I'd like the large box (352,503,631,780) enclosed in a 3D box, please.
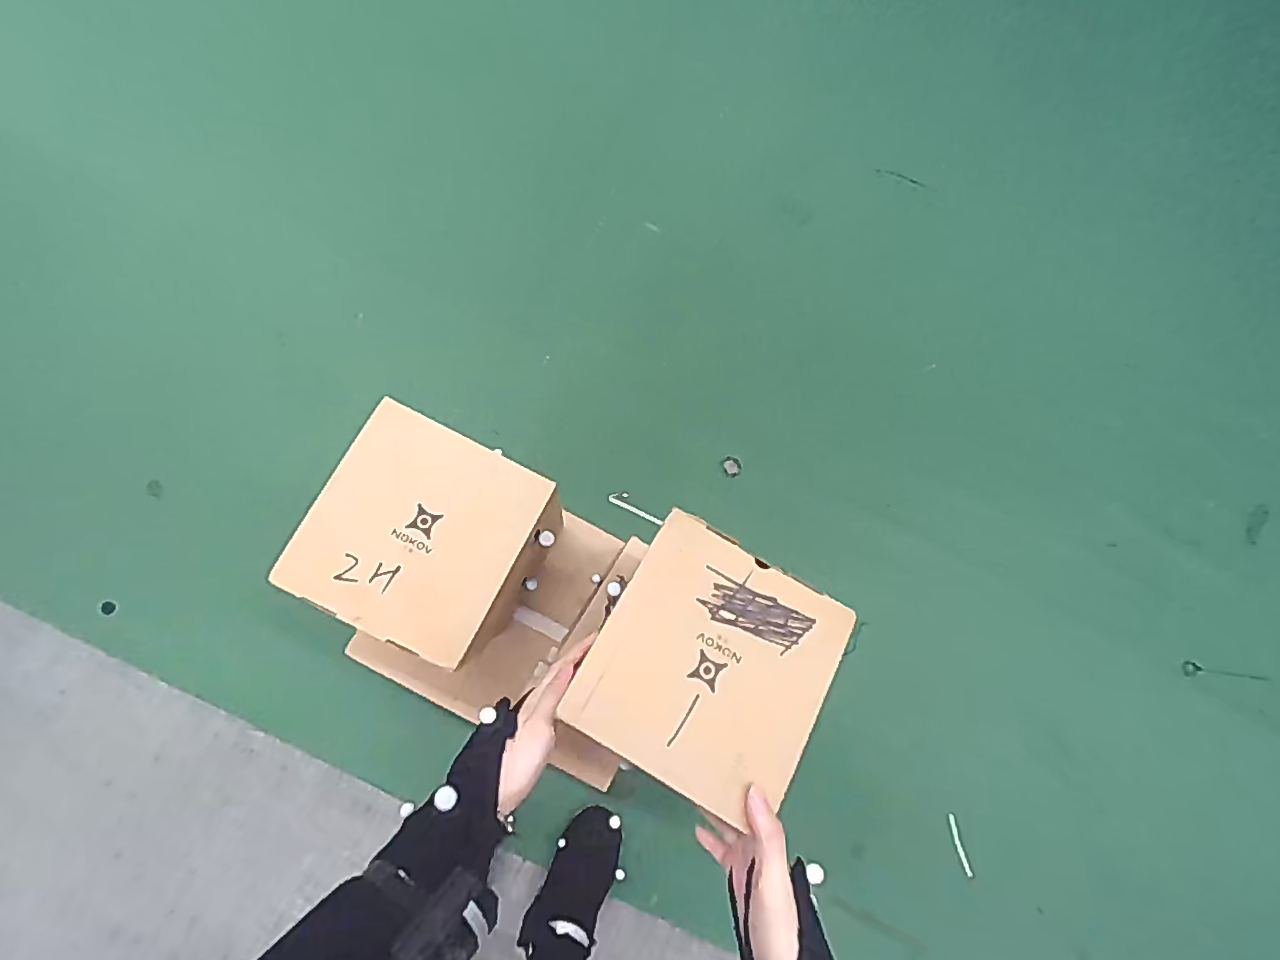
[{"bbox_3d":[-0.165,0.215,0.902,0.408,0.320,0.320,28,78,-1],"label":"large box"}]

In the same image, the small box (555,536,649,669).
[{"bbox_3d":[0.013,0.188,0.677,0.179,0.176,0.168,33,77,1],"label":"small box"}]

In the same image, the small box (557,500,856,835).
[{"bbox_3d":[0.045,0.149,0.462,0.168,0.176,0.179,30,71,6],"label":"small box"}]

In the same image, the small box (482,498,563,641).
[{"bbox_3d":[-0.210,0.076,0.676,0.168,0.176,0.179,28,77,-1],"label":"small box"}]

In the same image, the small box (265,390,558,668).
[{"bbox_3d":[-0.191,0.050,0.514,0.168,0.176,0.179,28,77,-1],"label":"small box"}]
